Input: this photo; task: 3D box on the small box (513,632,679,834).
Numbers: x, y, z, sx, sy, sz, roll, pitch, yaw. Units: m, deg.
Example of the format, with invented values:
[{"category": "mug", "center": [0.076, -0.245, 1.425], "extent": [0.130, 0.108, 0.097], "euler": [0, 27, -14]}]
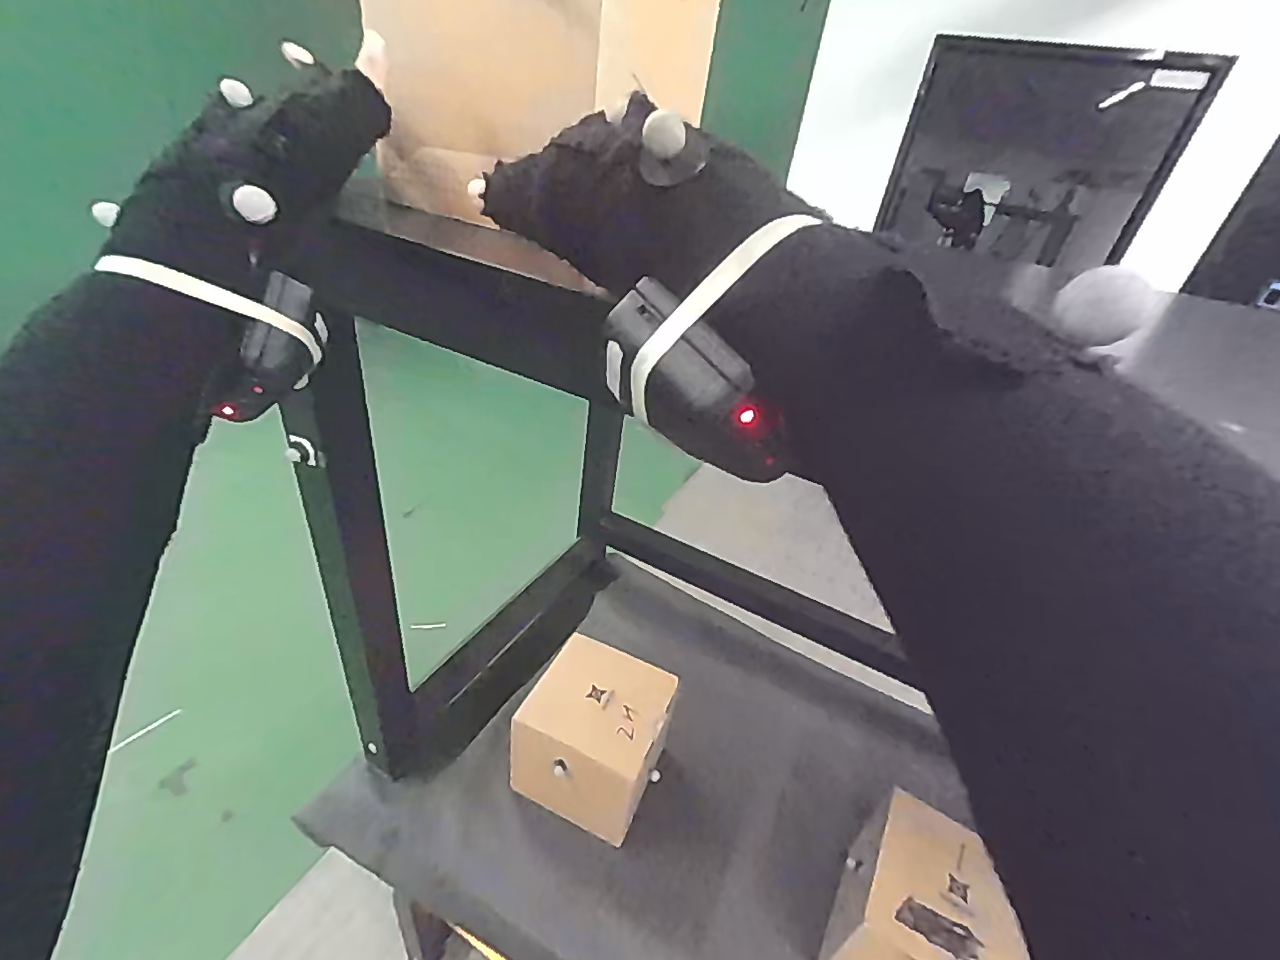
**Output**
[{"category": "small box", "center": [-0.065, 0.358, 0.772], "extent": [0.179, 0.176, 0.168], "euler": [20, 34, 16]}]
